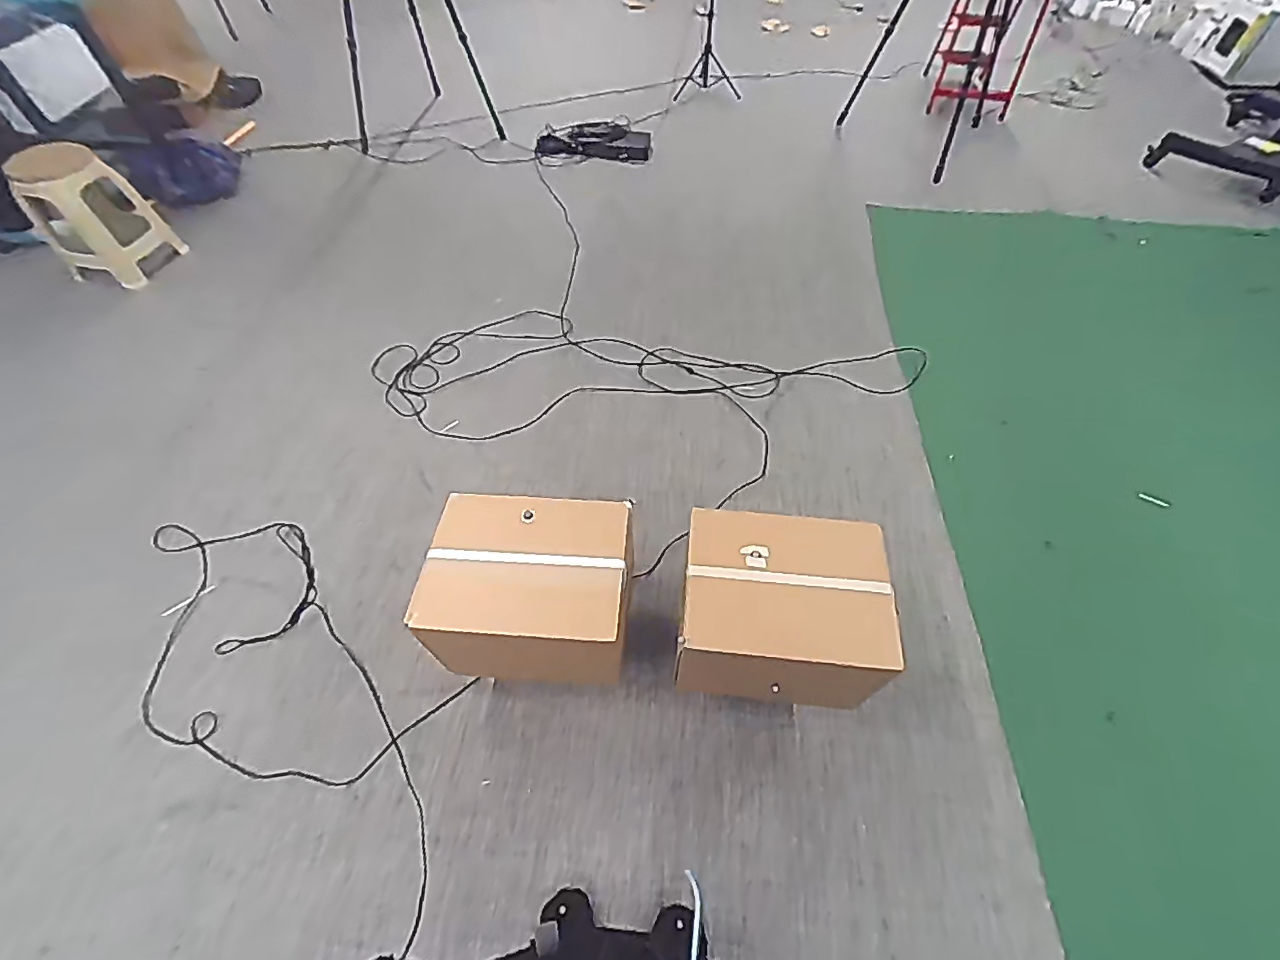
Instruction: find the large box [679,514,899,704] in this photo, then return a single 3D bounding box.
[{"bbox_3d":[0.302,0.297,1.215,0.408,0.320,0.320,5,55,5],"label":"large box"}]
